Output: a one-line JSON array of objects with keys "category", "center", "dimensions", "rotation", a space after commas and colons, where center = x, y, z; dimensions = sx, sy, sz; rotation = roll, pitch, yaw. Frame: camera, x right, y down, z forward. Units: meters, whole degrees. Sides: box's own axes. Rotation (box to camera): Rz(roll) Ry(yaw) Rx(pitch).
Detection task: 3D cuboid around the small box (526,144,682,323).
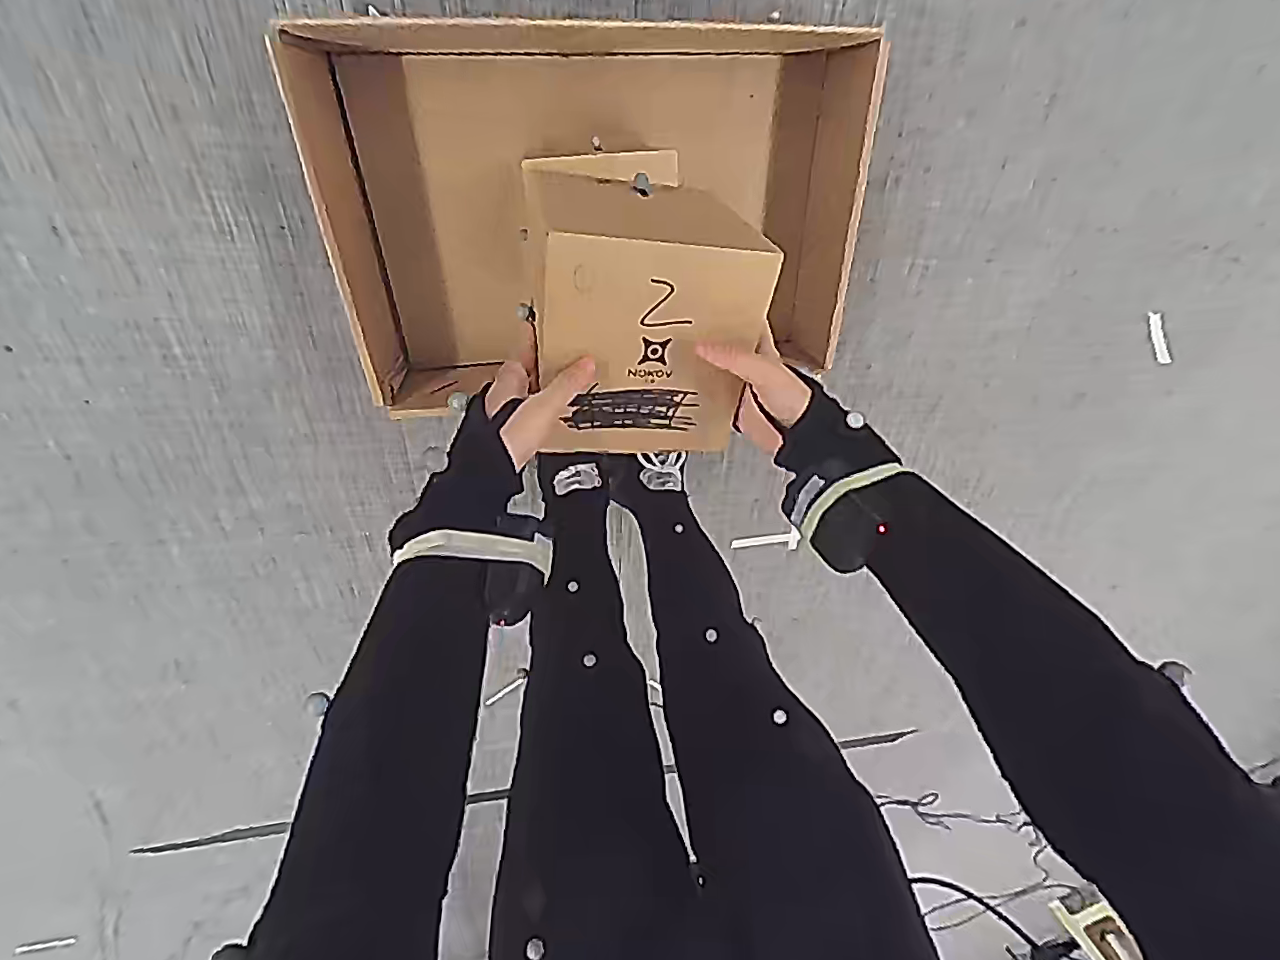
[{"category": "small box", "center": [-0.048, -0.311, 0.671], "dimensions": [0.168, 0.176, 0.179], "rotation": [-7, 124, -7]}]
